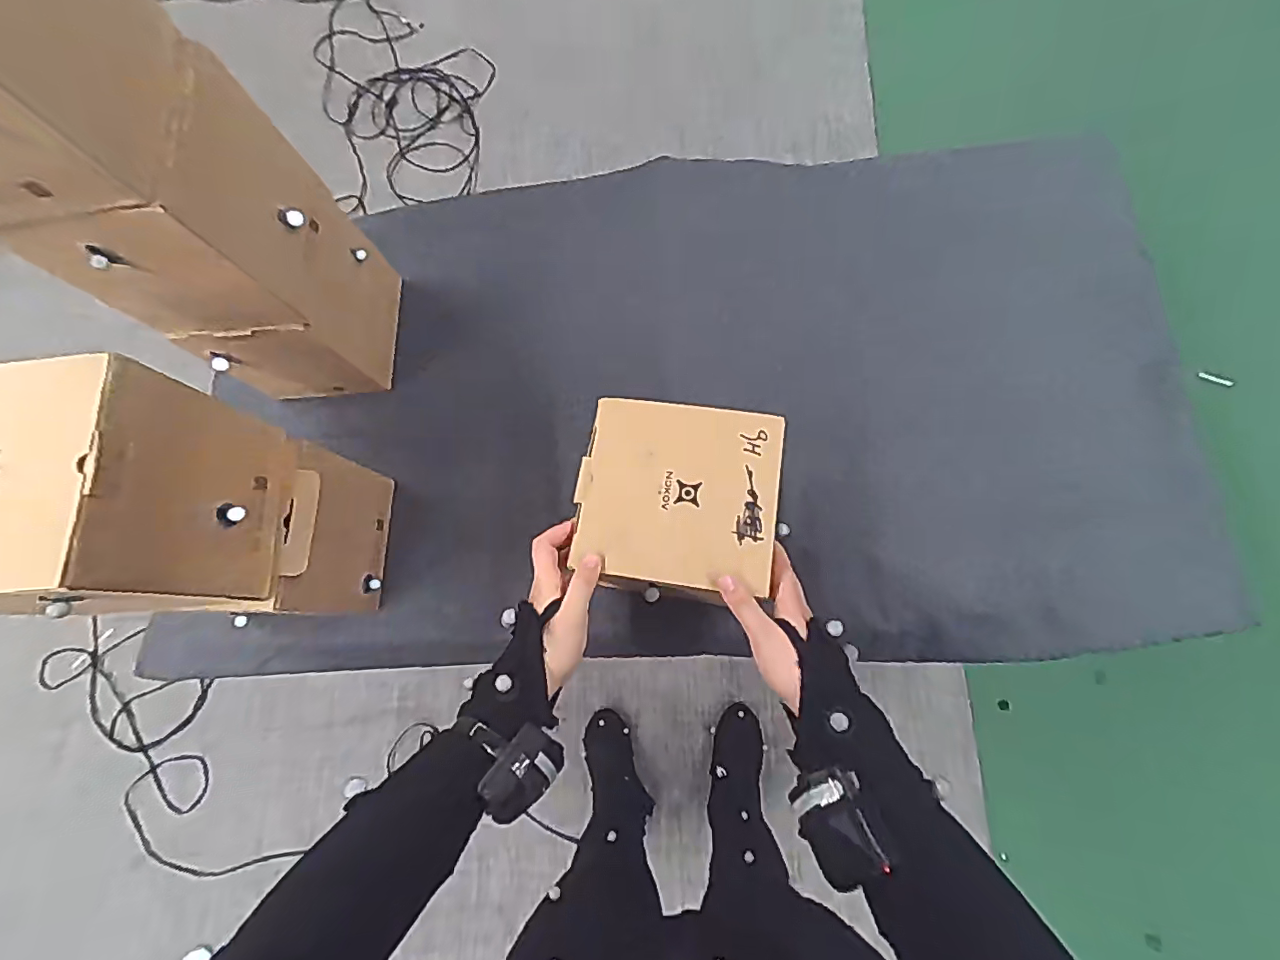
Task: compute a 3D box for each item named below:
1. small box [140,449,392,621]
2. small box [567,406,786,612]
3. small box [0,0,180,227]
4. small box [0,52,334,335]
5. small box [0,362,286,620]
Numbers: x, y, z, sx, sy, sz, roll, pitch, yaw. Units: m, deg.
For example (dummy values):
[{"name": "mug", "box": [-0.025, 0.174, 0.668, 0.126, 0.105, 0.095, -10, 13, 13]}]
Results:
[{"name": "small box", "box": [-0.402, 0.068, 0.595, 0.179, 0.176, 0.168, -1, 75, 6]}, {"name": "small box", "box": [0.043, 0.039, 0.554, 0.179, 0.176, 0.168, 7, 75, 9]}, {"name": "small box", "box": [-0.456, -0.292, 0.356, 0.168, 0.176, 0.179, -6, 74, 3]}, {"name": "small box", "box": [-0.432, -0.251, 0.511, 0.179, 0.176, 0.168, -2, 76, 5]}, {"name": "small box", "box": [-0.435, 0.024, 0.441, 0.179, 0.176, 0.168, -6, 75, 4]}]
